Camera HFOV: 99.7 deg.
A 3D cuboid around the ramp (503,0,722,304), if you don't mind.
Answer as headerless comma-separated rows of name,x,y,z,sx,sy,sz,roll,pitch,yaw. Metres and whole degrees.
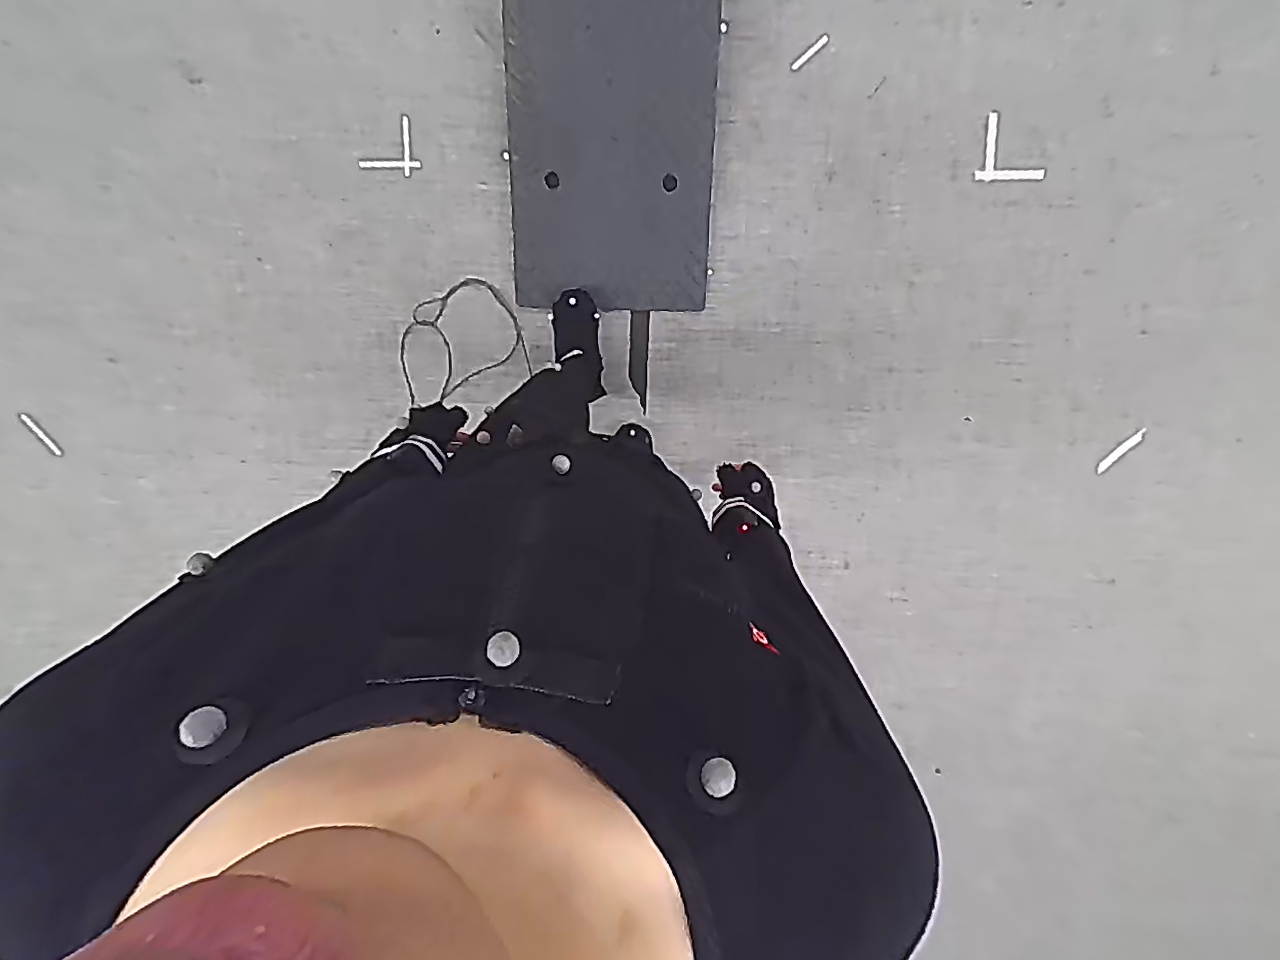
ramp,-0.062,-0.931,1.244,0.509,0.206,0.991,-1,99,-1
